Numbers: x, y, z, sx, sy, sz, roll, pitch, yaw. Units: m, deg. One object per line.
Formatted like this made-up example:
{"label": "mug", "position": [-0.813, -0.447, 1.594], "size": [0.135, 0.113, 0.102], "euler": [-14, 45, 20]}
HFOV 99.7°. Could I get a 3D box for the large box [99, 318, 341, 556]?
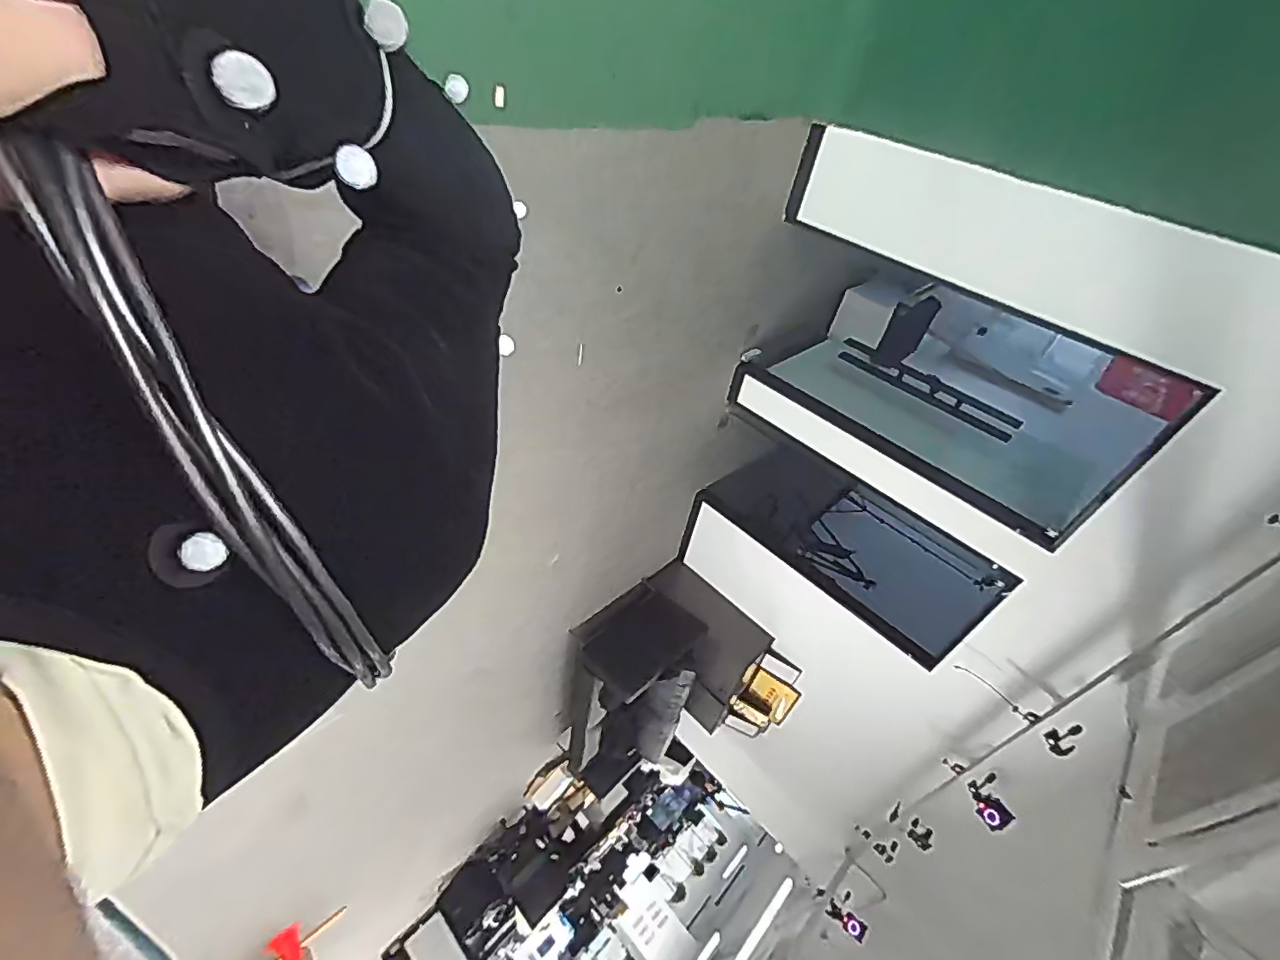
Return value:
{"label": "large box", "position": [-0.947, -0.110, 1.258], "size": [0.320, 0.320, 0.408], "euler": [-26, 145, -42]}
